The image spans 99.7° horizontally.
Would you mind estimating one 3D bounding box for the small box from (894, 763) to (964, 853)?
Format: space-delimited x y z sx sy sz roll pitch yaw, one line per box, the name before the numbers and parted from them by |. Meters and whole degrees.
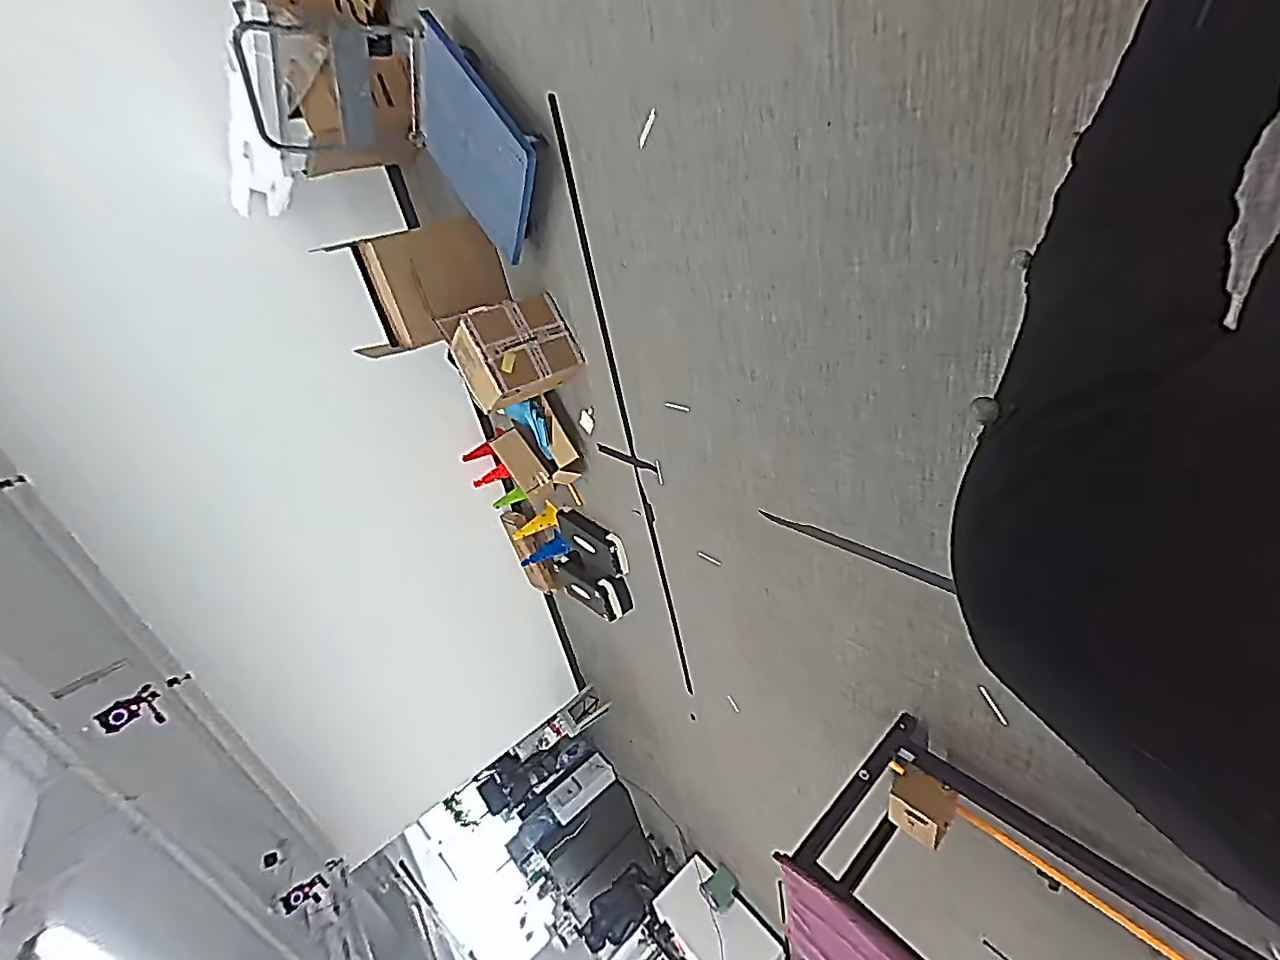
small box | 1.016 1.144 1.901 0.168 0.176 0.179 22 135 47
